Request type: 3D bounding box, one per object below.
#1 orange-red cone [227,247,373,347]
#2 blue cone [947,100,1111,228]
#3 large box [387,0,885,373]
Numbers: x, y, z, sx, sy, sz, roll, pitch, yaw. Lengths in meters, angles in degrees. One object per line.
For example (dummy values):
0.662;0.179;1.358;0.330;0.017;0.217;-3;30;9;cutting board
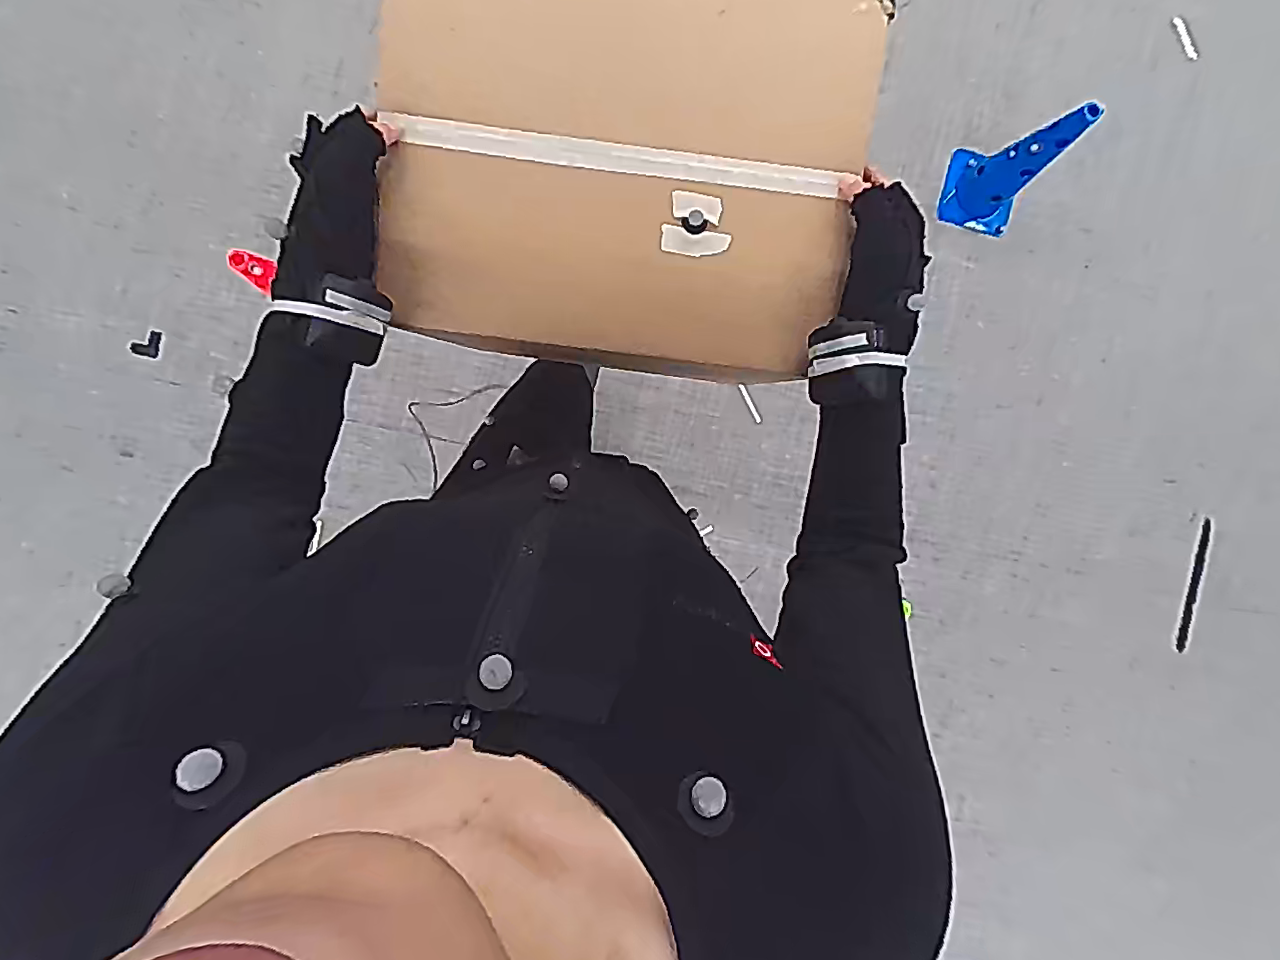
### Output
-0.797;-0.448;1.237;0.198;0.360;0.199;10;93;-2;orange-red cone
0.956;-0.796;1.324;0.192;0.380;0.193;16;92;-5;blue cone
-0.015;-0.301;0.604;0.408;0.320;0.320;6;99;-3;large box
